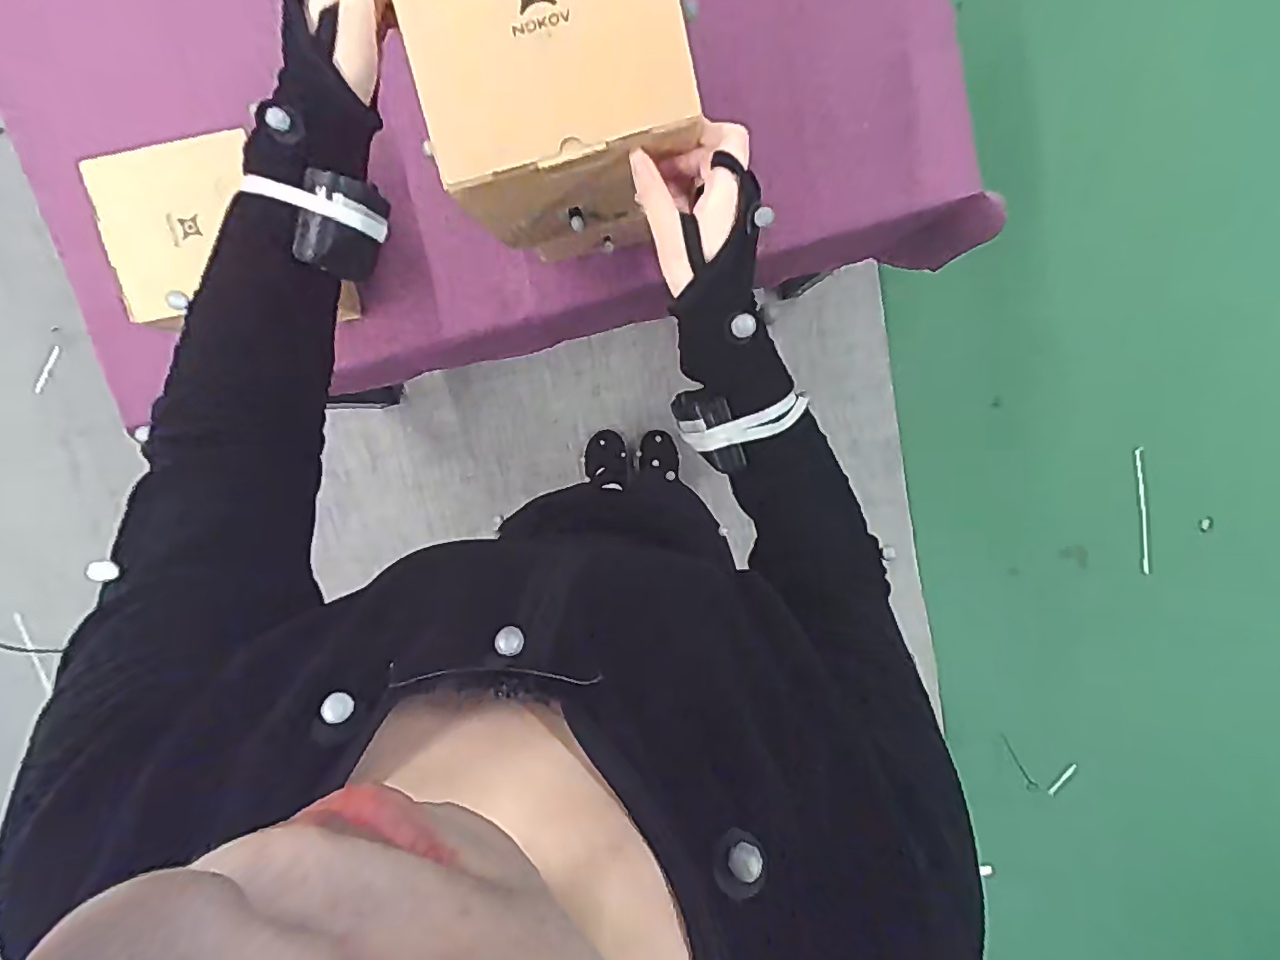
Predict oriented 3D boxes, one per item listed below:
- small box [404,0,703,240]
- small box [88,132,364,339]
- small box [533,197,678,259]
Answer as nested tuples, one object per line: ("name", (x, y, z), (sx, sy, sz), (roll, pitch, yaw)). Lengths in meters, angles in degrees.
("small box", (-0.058, -0.304, 0.401), (0.168, 0.176, 0.179), (-14, 101, 4))
("small box", (-0.467, -0.271, 0.641), (0.179, 0.176, 0.168), (-12, 99, 0))
("small box", (-0.060, -0.379, 0.634), (0.179, 0.176, 0.168), (-13, 98, 0))
